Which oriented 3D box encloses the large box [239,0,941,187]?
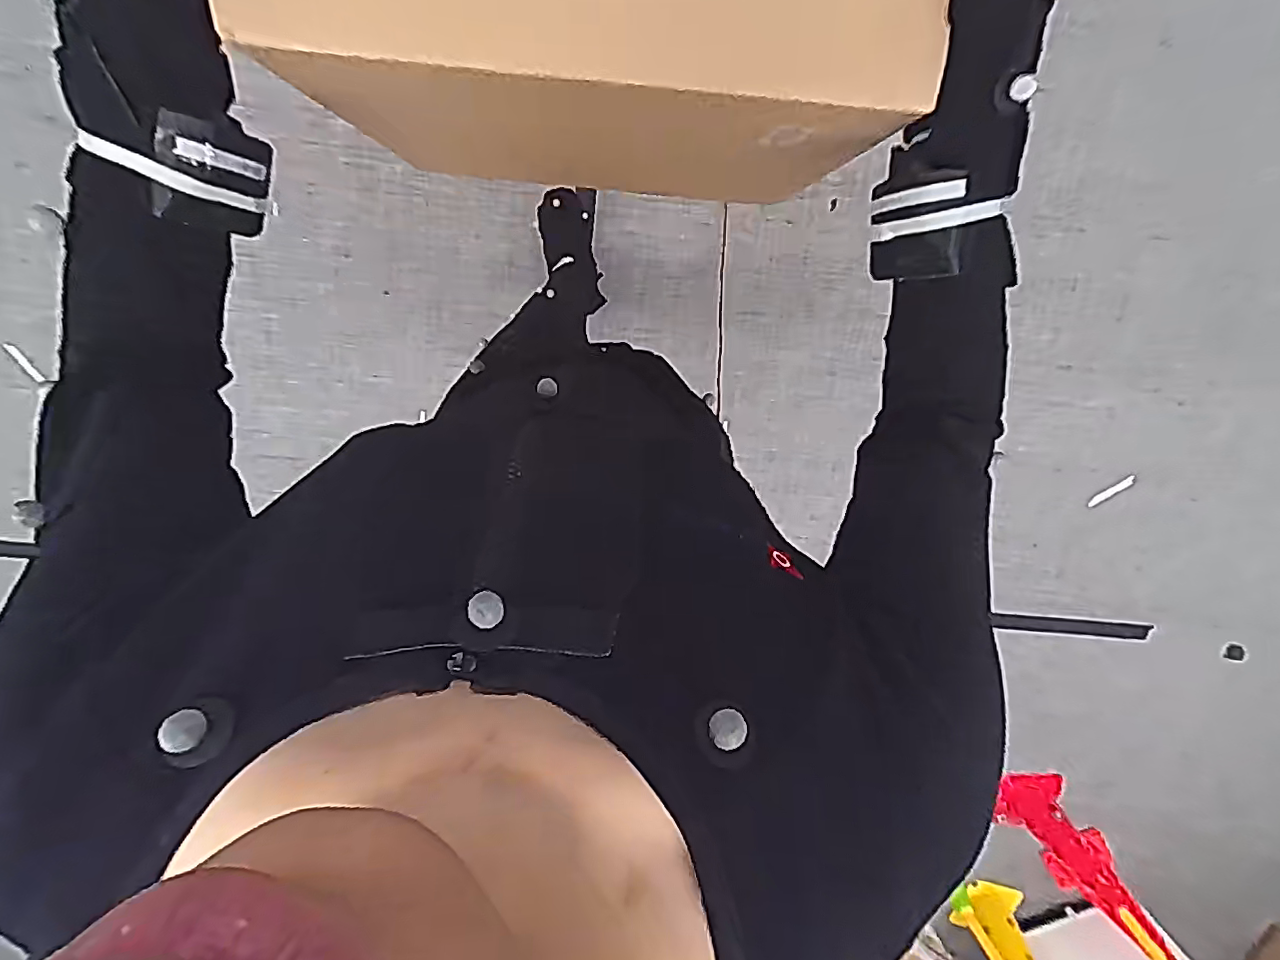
[{"bbox_3d":[-0.026,-0.435,0.410,0.408,0.320,0.320,3,108,-4],"label":"large box"}]
